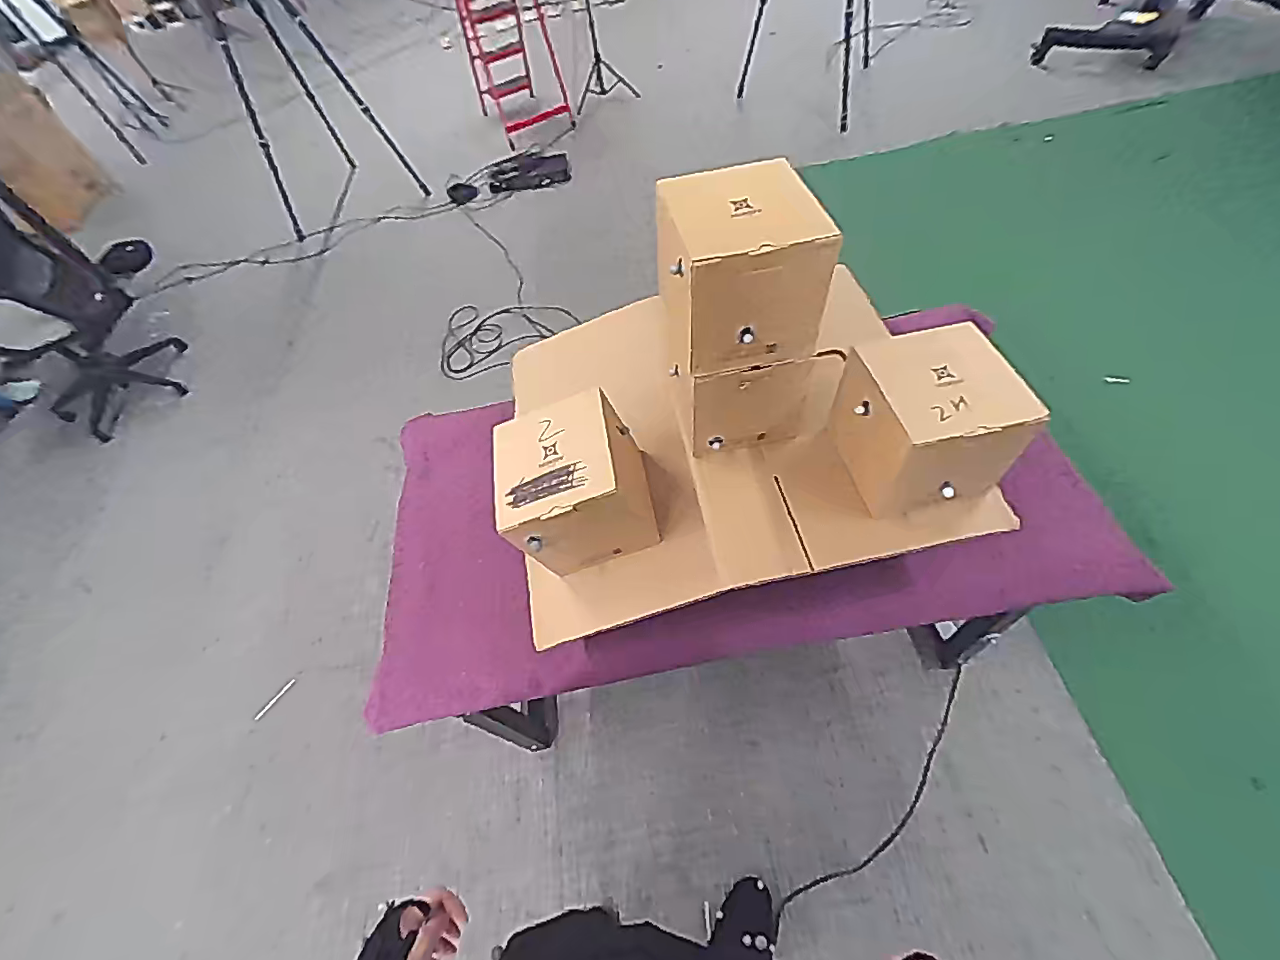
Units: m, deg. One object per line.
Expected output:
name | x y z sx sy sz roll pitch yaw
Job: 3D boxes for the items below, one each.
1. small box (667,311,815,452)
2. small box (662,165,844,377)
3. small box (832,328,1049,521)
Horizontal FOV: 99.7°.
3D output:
small box | 0.139 -0.159 0.803 0.168 0.176 0.179 -11 54 -3
small box | 0.123 -0.257 0.675 0.168 0.176 0.179 -12 56 -4
small box | 0.376 -0.071 0.722 0.168 0.176 0.179 -11 55 -2
